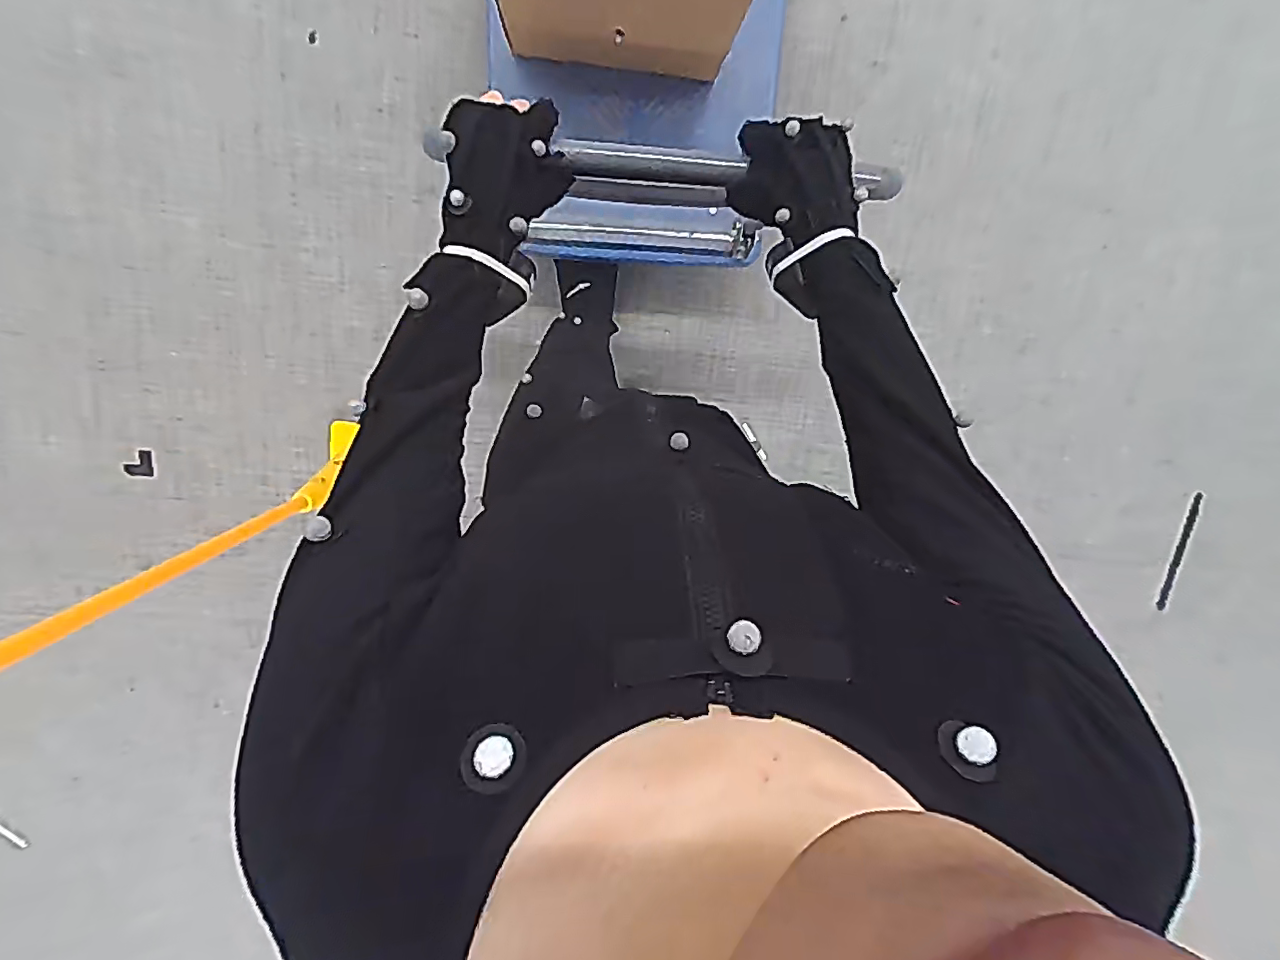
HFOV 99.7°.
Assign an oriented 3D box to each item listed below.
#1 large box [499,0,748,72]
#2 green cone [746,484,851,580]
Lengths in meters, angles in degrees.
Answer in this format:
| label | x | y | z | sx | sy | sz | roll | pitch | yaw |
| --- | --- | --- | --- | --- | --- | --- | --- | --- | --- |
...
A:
| label | x | y | z | sx | sy | sz | roll | pitch | yaw |
| --- | --- | --- | --- | --- | --- | --- | --- | --- | --- |
| large box | -0.025 | -0.930 | 0.891 | 0.408 | 0.320 | 0.320 | 3 | 105 | -5 |
| green cone | 0.427 | 0.161 | 1.369 | 0.202 | 0.368 | 0.200 | 9 | 104 | -8 |
